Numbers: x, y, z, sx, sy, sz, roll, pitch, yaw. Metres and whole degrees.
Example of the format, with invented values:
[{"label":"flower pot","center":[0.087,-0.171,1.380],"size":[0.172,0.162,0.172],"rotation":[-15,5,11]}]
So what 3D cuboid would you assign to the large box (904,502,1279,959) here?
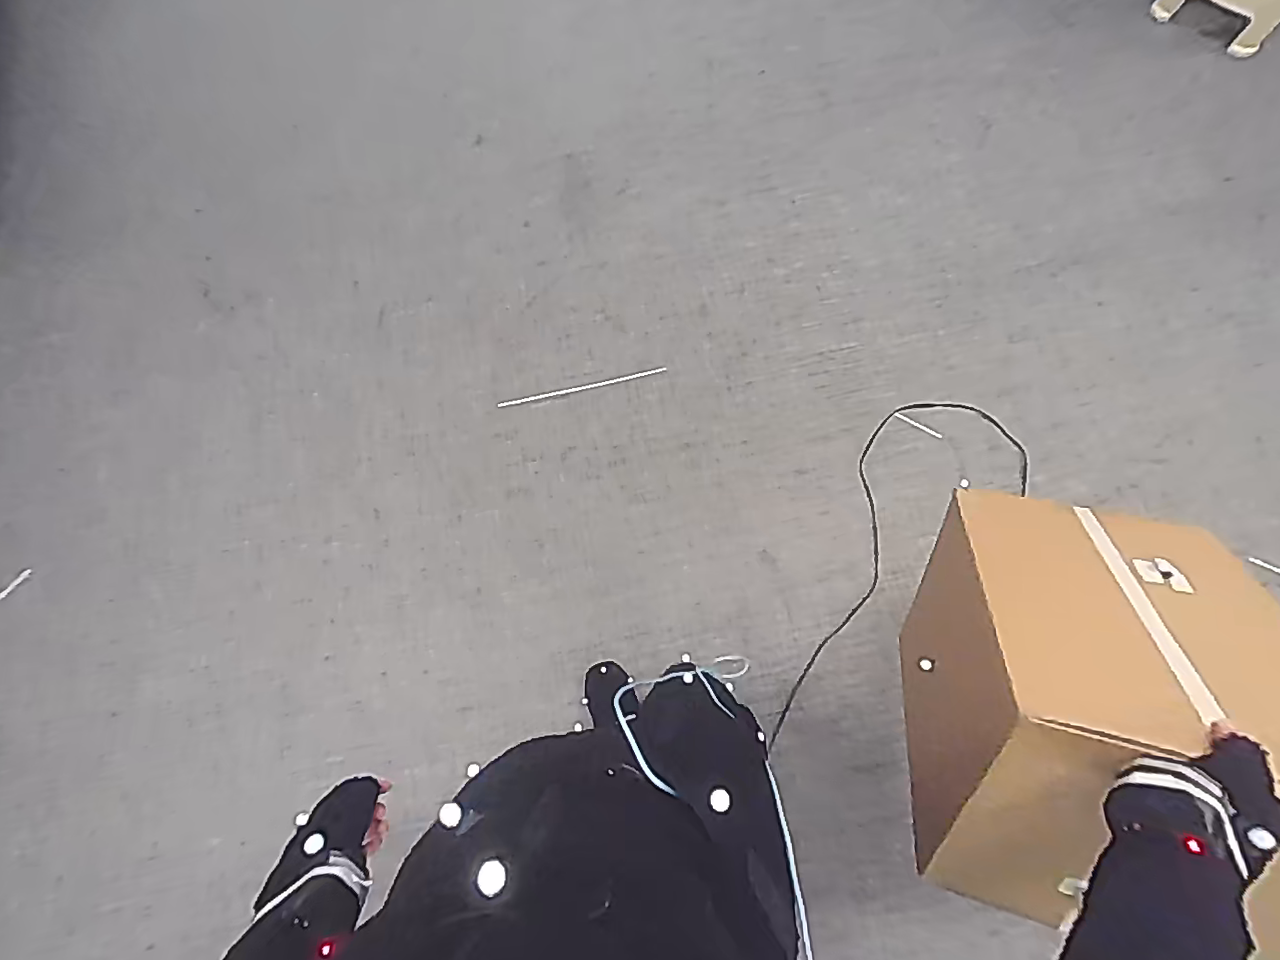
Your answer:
[{"label":"large box","center":[0.546,0.282,0.677],"size":[0.320,0.320,0.408],"rotation":[12,32,15]}]
